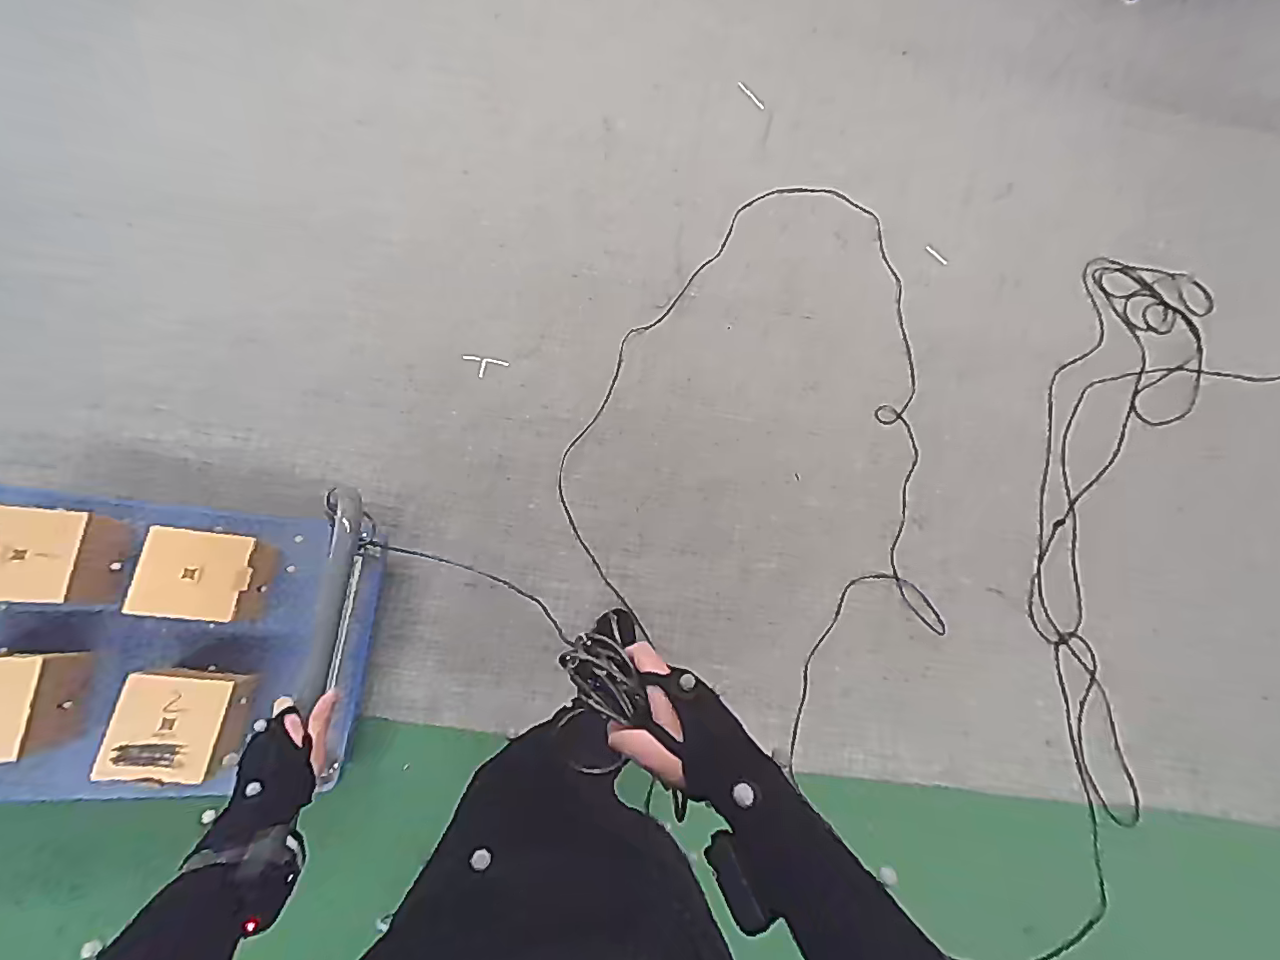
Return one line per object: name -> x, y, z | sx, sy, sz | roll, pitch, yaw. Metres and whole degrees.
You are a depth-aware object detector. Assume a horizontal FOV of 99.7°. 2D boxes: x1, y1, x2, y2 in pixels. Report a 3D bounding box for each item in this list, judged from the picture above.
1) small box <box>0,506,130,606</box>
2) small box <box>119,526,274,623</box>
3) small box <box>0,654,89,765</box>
small box -> -1.123, 0.147, 1.012 | 0.179, 0.176, 0.168 | 7, 75, -20
small box -> -0.880, 0.197, 1.094 | 0.179, 0.176, 0.168 | 11, 73, -19
small box -> -1.131, 0.396, 0.945 | 0.179, 0.176, 0.168 | 5, 74, -19
